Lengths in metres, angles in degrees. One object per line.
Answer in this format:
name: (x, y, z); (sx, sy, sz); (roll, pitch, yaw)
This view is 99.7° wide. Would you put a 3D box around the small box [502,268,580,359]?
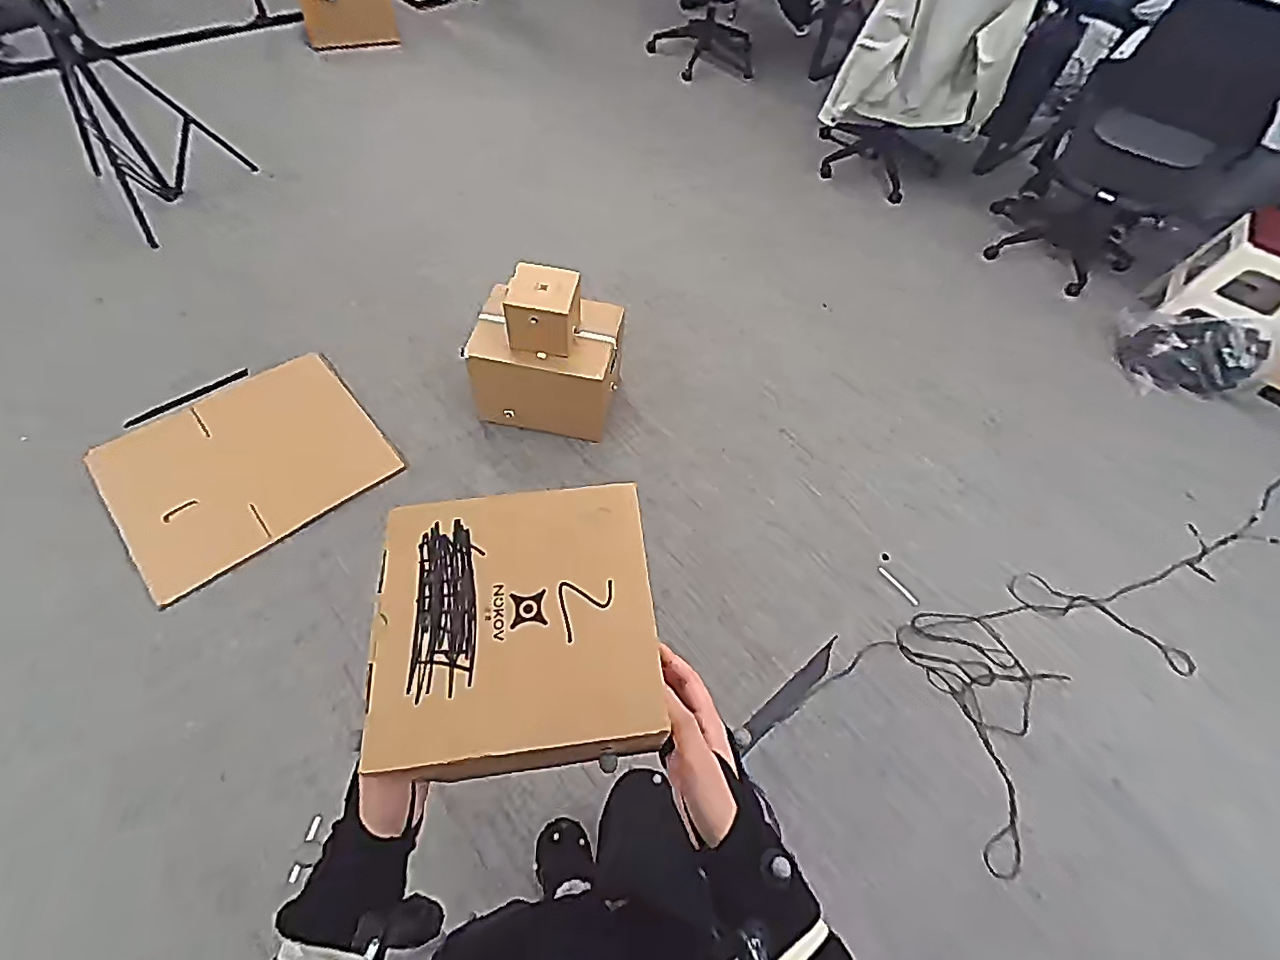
small box: (-0.268, -0.458, 1.507); (0.179, 0.176, 0.168); (9, 60, -1)
